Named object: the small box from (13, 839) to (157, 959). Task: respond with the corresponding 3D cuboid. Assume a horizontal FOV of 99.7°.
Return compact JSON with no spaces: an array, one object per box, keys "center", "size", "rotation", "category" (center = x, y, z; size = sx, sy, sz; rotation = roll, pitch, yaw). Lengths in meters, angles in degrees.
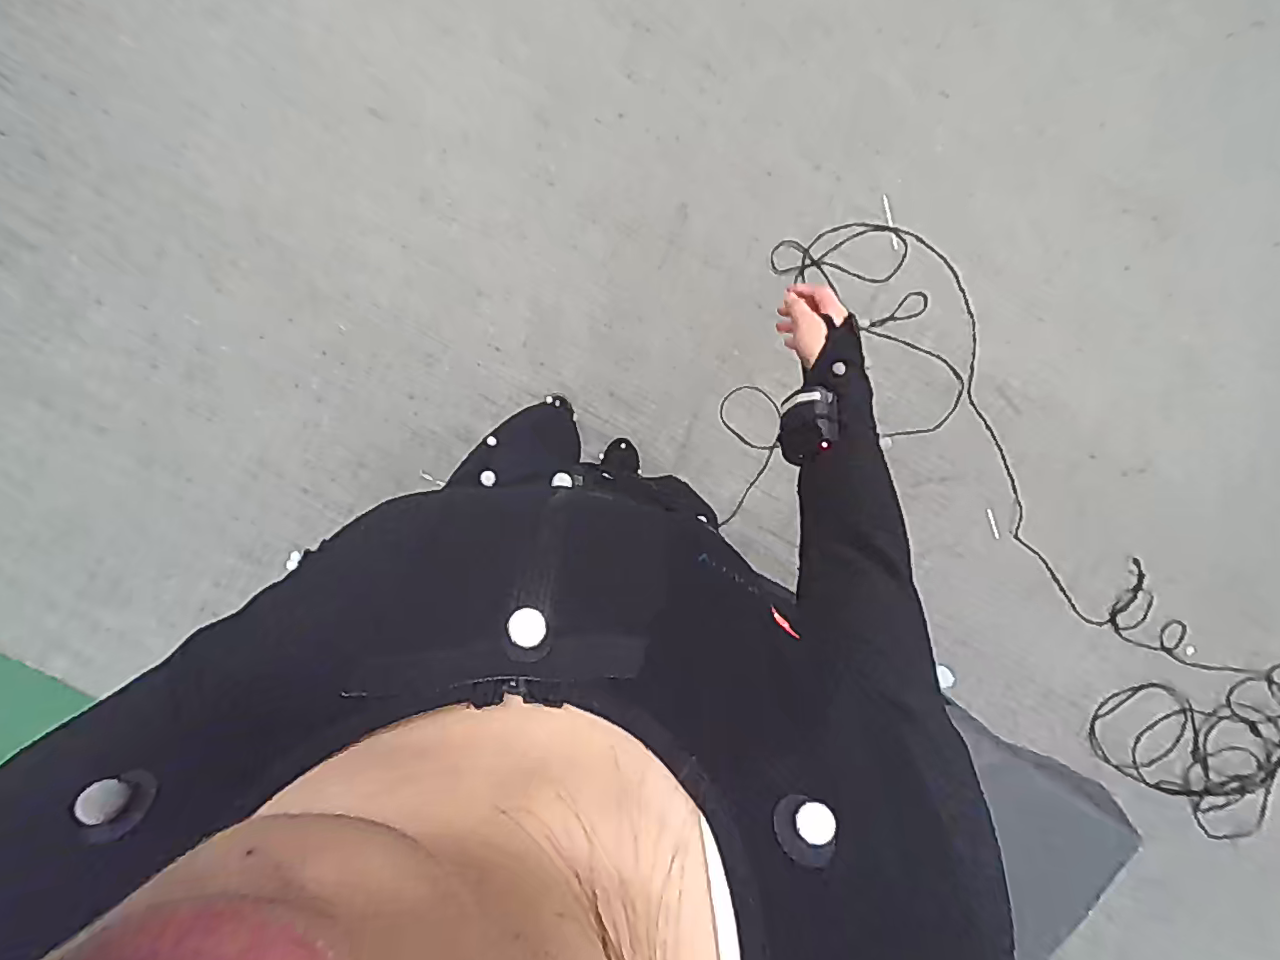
[{"center":[-1.487,1.120,1.460],"size":[0.179,0.176,0.168],"rotation":[34,93,-5],"category":"small box"}]
